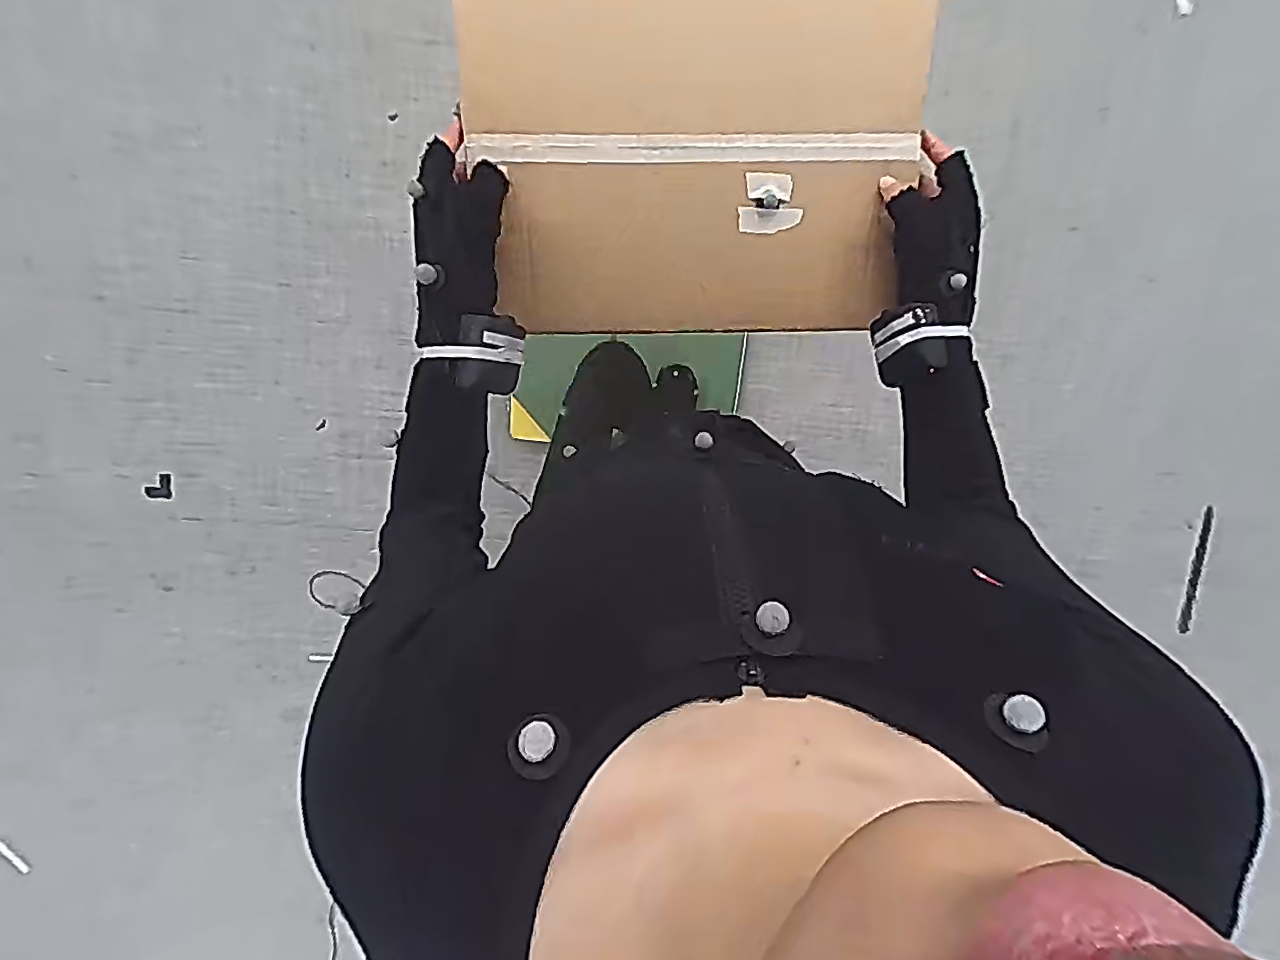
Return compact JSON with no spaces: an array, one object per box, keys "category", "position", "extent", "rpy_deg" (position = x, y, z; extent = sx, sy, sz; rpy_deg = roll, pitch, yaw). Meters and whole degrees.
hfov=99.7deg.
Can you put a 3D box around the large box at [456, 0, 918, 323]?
[{"category":"large box","position":[0.037,-0.356,0.634],"extent":[0.408,0.320,0.320],"rpy_deg":[-2,109,-3]}]
